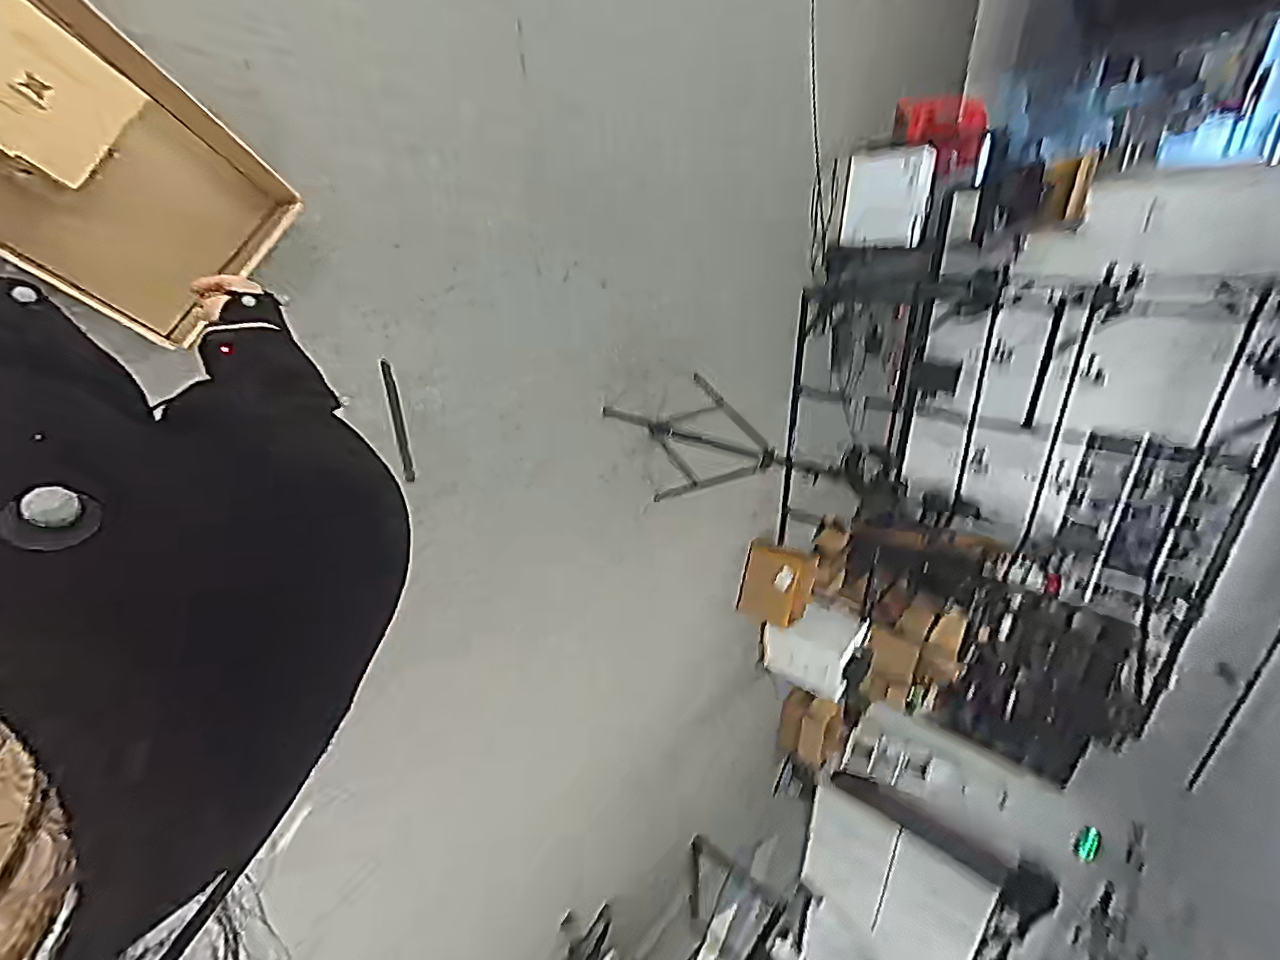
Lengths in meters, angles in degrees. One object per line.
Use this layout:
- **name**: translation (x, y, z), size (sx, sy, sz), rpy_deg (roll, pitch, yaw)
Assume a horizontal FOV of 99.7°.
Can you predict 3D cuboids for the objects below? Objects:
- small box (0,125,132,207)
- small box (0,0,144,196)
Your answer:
- **small box**: translation (-0.968, -0.561, 0.853), size (0.179, 0.176, 0.168), rpy_deg (-60, 141, -13)
- **small box**: translation (-0.848, -0.524, 0.750), size (0.168, 0.176, 0.179), rpy_deg (39, 73, -52)
